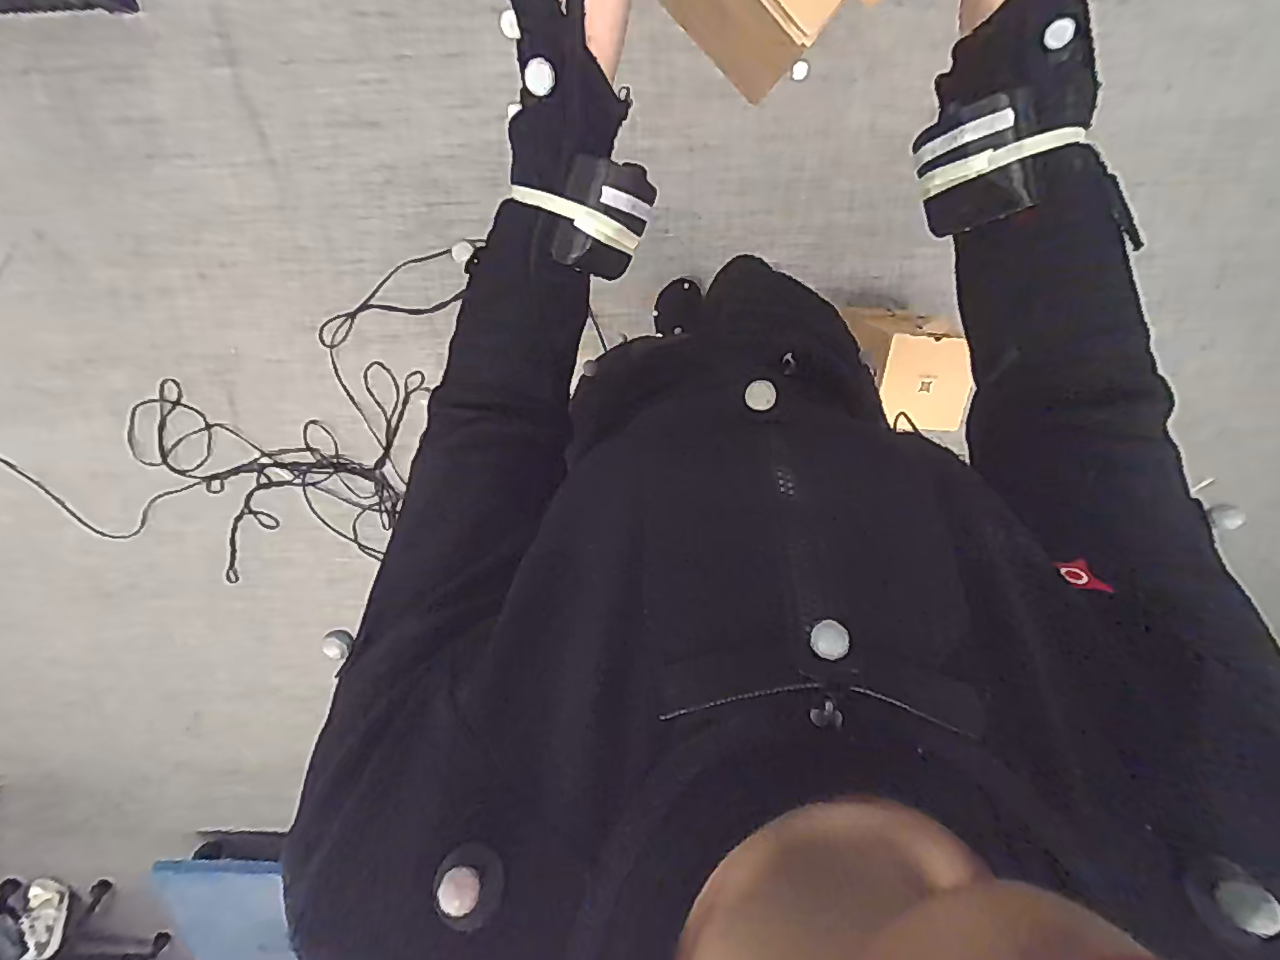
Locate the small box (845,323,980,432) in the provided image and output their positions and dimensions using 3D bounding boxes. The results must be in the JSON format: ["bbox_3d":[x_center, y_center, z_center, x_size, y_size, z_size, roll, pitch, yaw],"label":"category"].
[{"bbox_3d":[0.518,-0.205,1.061,0.168,0.176,0.179,3,113,0],"label":"small box"}]

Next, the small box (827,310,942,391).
[{"bbox_3d":[0.532,-0.281,1.206,0.168,0.176,0.179,2,112,0],"label":"small box"}]
